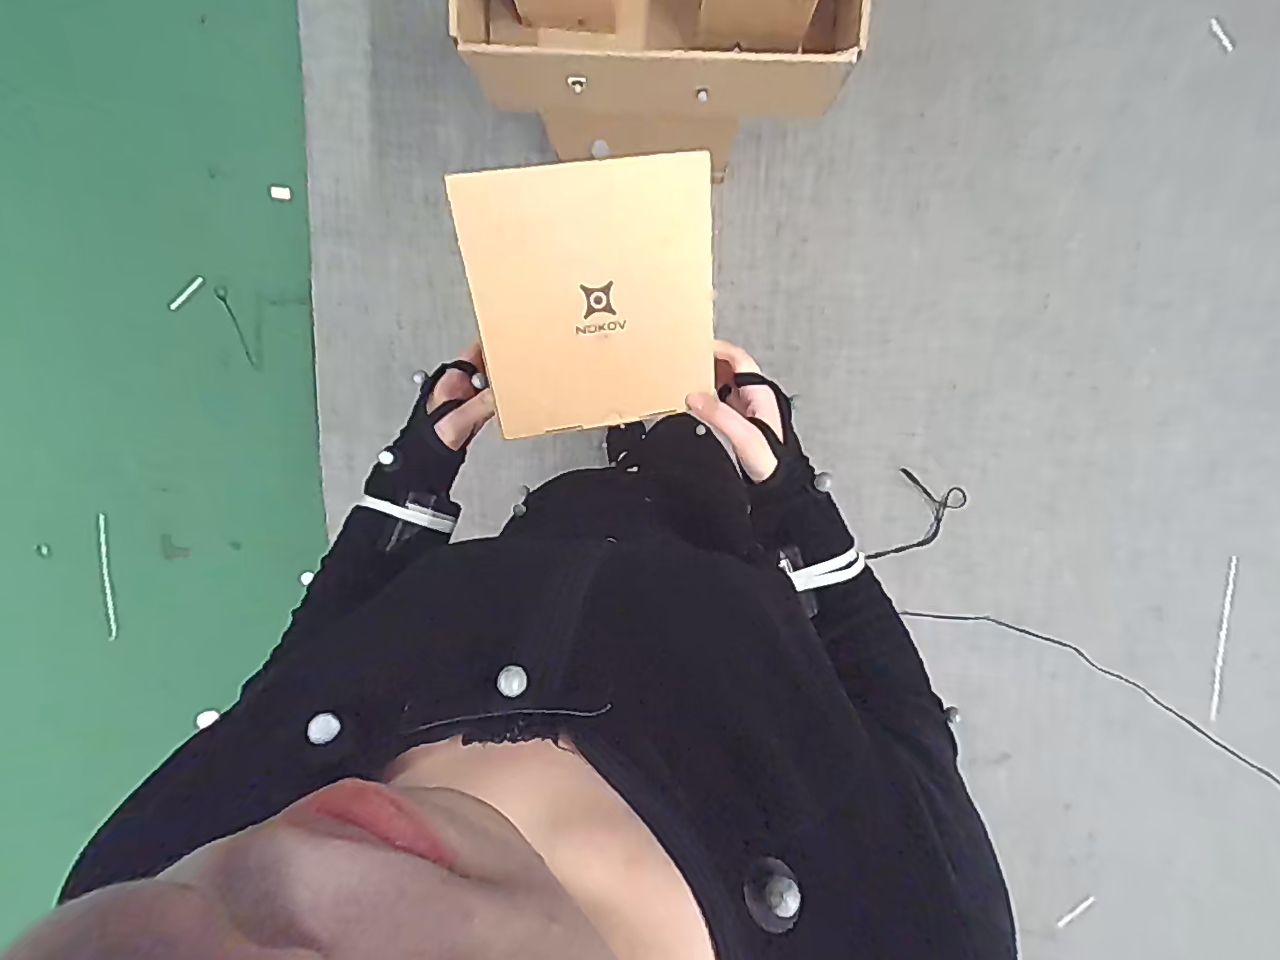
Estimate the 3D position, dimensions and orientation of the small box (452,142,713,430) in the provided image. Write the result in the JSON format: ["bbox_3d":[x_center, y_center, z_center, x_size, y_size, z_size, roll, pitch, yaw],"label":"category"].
[{"bbox_3d":[-0.046,-0.162,0.439,0.168,0.176,0.179,-10,120,-8],"label":"small box"}]
